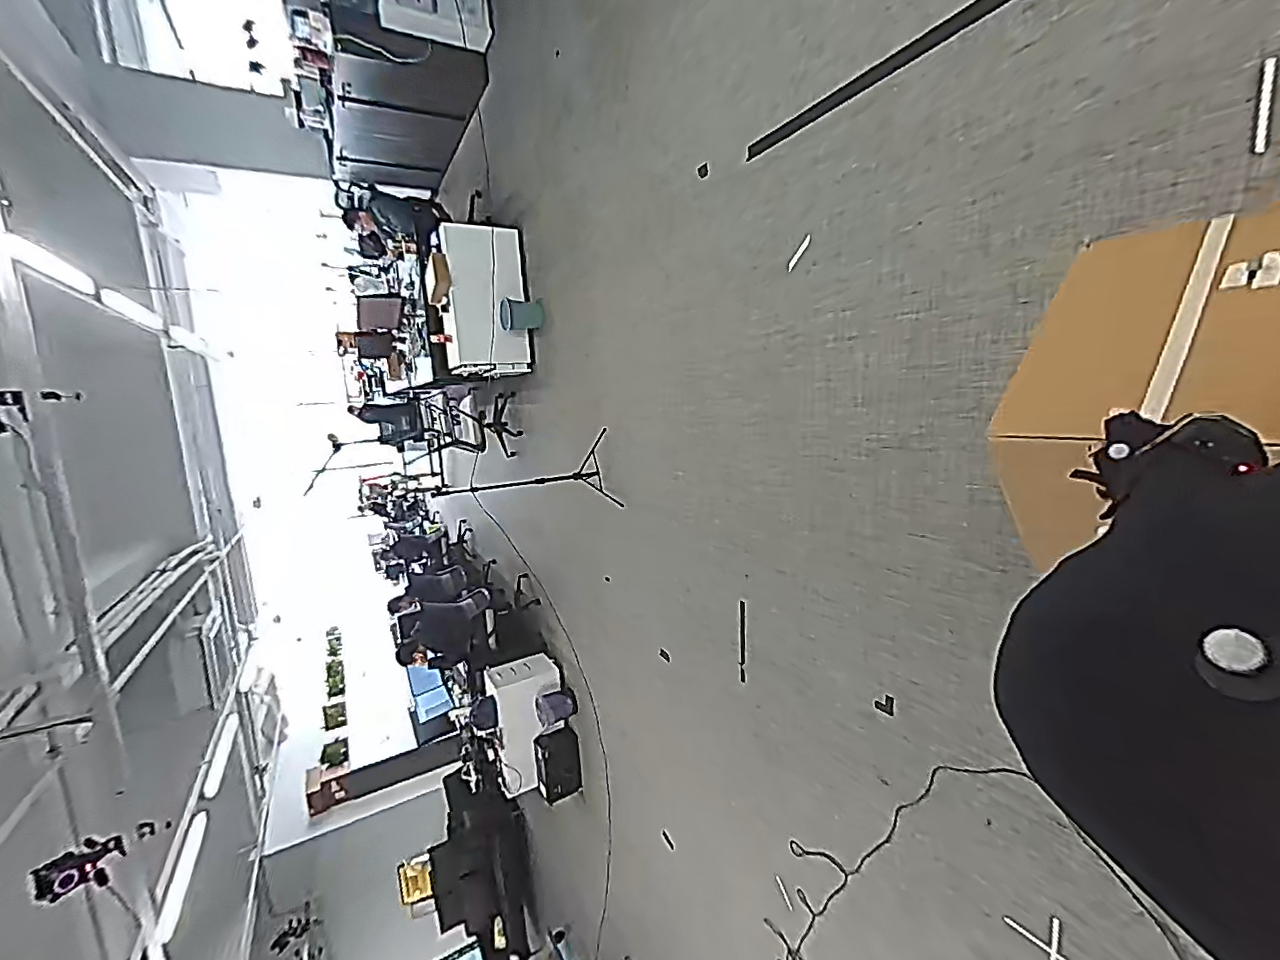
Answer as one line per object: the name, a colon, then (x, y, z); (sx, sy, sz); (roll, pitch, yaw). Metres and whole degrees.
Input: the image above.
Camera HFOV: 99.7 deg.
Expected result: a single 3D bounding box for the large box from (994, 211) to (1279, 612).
large box: (0.745, -0.089, 0.720); (0.320, 0.408, 0.320); (10, 146, 54)
